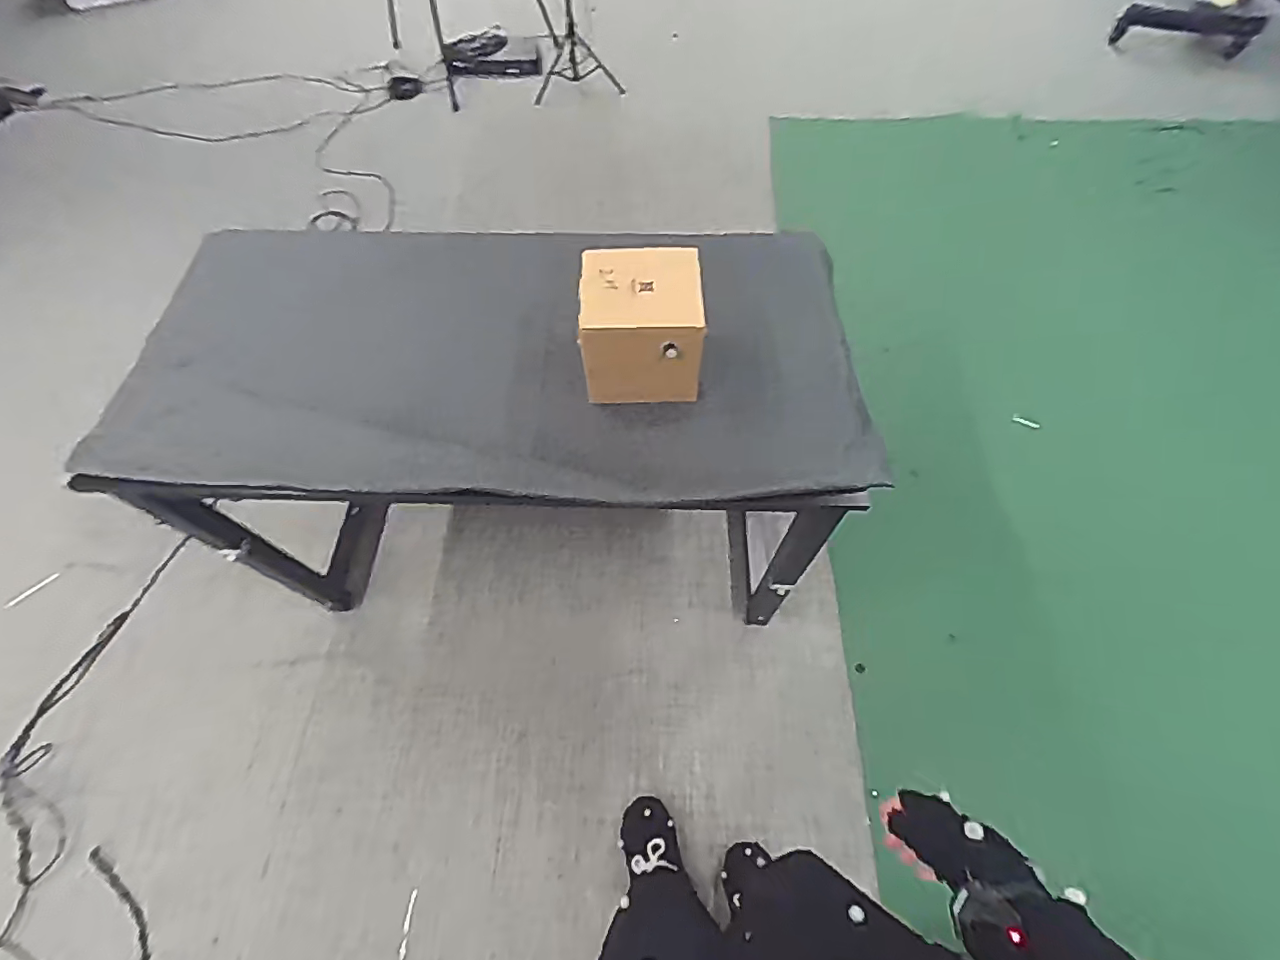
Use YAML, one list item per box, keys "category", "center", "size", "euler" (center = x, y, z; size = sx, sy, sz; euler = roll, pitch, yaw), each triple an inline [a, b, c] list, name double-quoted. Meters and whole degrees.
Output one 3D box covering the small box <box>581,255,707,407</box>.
- category: "small box"
  center: [0.006, -0.228, 0.849]
  size: [0.179, 0.176, 0.168]
  euler: [-1, 60, 1]
